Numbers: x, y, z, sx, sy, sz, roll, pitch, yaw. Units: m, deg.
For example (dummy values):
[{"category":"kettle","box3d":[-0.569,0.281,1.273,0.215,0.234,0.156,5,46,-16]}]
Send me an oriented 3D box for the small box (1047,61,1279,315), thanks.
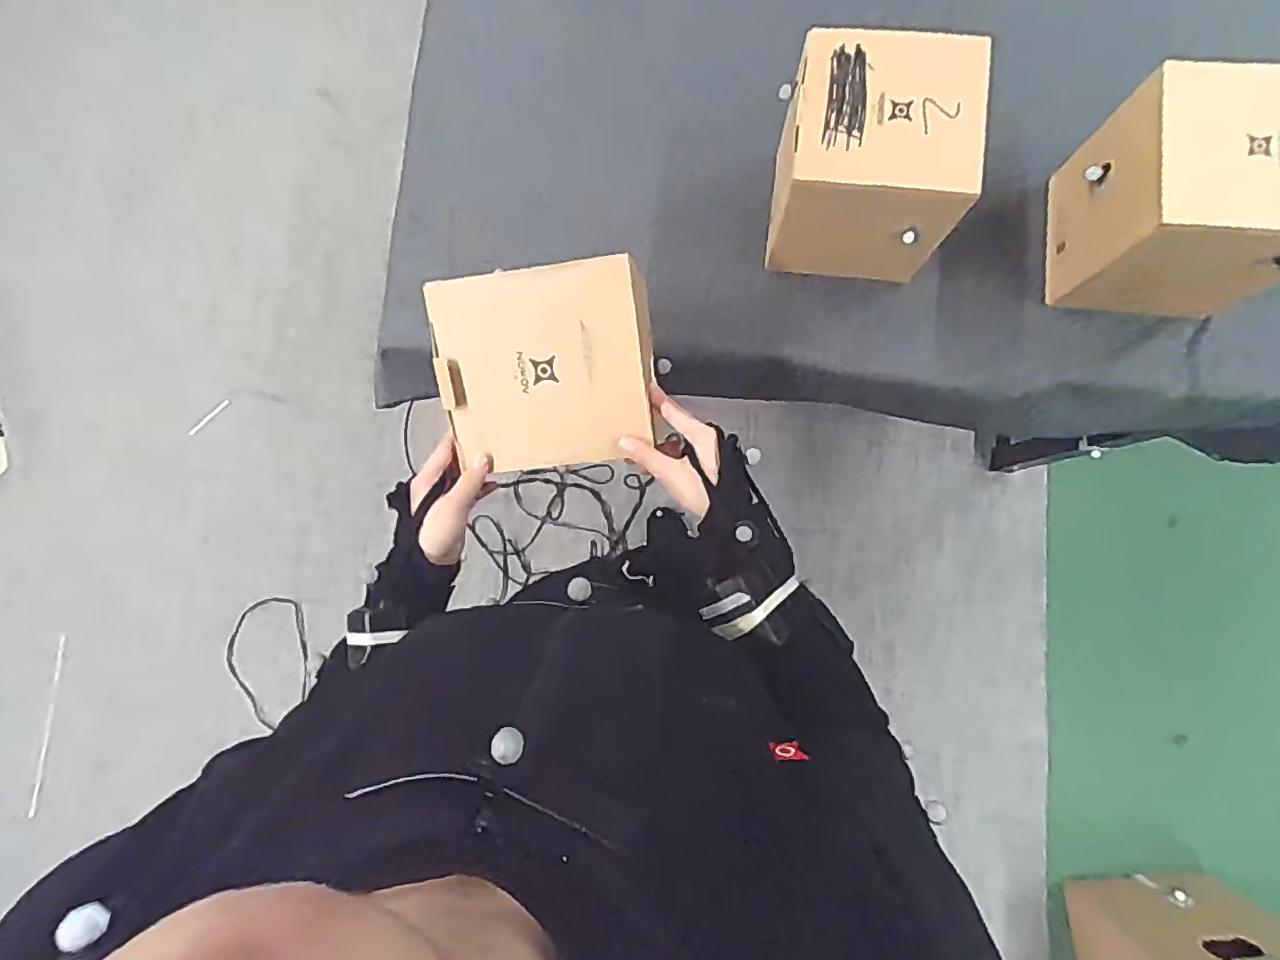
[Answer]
[{"category":"small box","box3d":[0.564,-0.287,0.561,0.179,0.176,0.168,6,83,5]}]
